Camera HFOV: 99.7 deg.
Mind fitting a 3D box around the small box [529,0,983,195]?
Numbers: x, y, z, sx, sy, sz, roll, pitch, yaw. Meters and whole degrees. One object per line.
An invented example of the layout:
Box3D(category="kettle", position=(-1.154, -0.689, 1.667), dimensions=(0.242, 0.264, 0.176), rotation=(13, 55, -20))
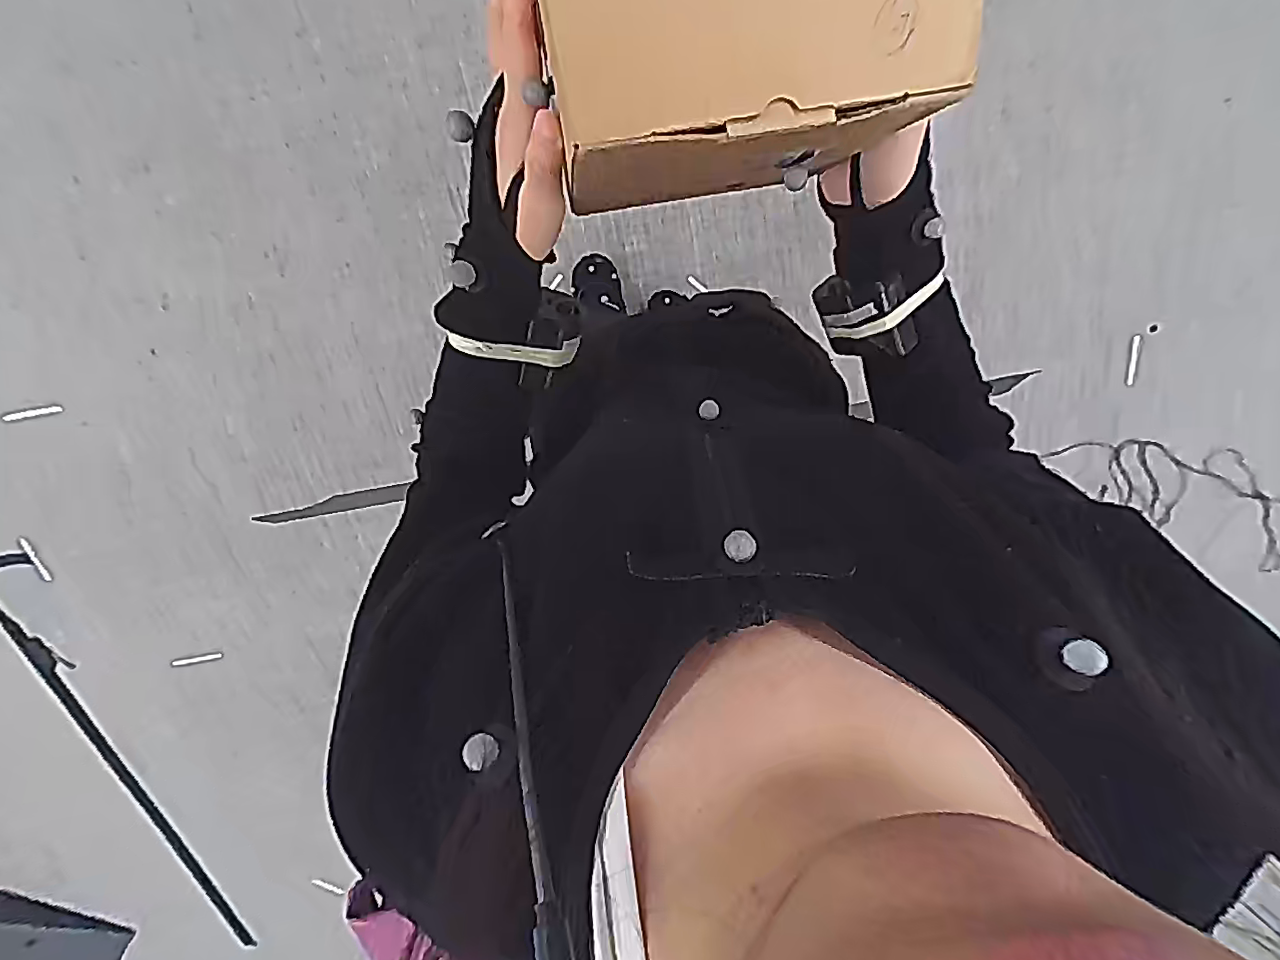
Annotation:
Box3D(category="small box", position=(0.030, -0.248, 0.255), dimensions=(0.168, 0.176, 0.179), rotation=(-11, 109, -5))

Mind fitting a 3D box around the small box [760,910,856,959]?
Box3D(category="small box", position=(0.345, 0.999, 1.079), dimensions=(0.168, 0.176, 0.179), rotation=(-10, 112, 0))

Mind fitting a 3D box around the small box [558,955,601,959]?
Box3D(category="small box", position=(-0.146, 1.108, 1.085), dimensions=(0.168, 0.176, 0.179), rotation=(-6, 111, -2))
